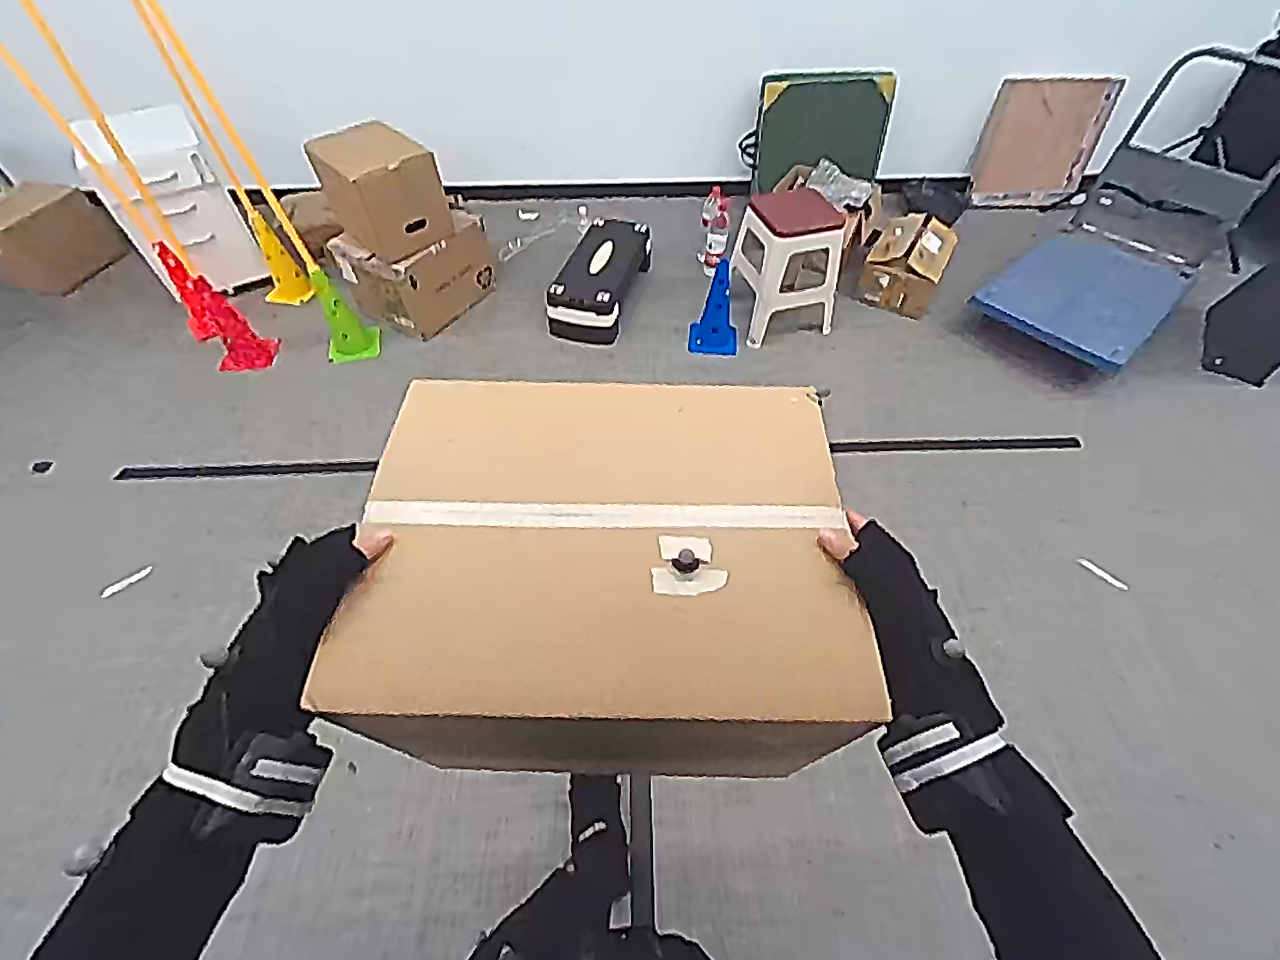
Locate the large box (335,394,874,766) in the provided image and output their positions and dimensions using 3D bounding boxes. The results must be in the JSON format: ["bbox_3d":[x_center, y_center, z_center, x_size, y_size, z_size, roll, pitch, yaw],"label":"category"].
[{"bbox_3d":[-0.027,0.122,0.599,0.408,0.320,0.320,1,55,0],"label":"large box"}]
